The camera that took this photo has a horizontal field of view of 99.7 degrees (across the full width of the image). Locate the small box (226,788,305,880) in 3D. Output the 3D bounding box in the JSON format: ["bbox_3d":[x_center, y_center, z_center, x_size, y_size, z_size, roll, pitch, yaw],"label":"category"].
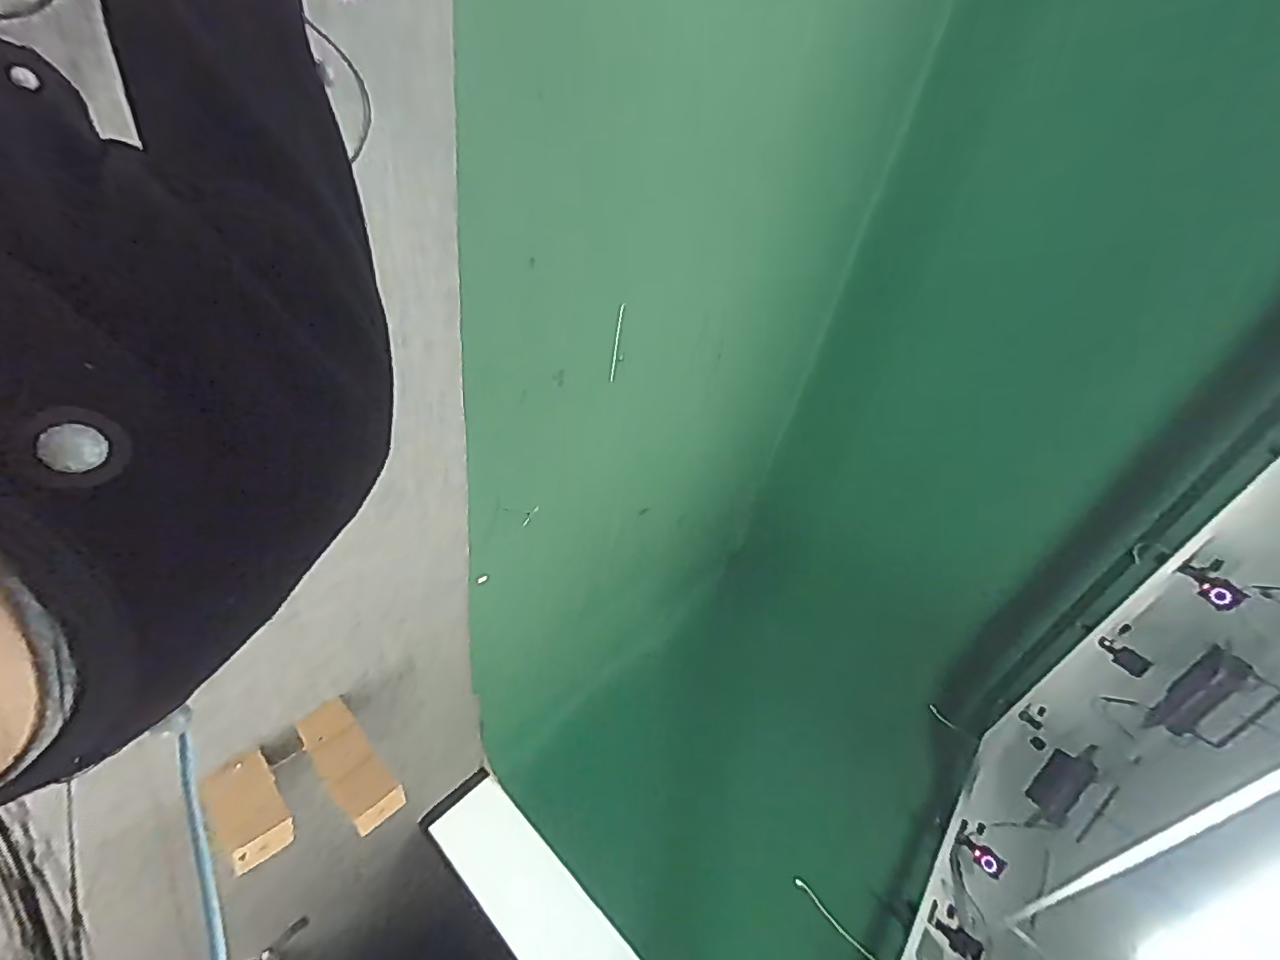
[{"bbox_3d":[-1.310,1.232,1.895,0.179,0.176,0.168,-21,136,-49],"label":"small box"}]

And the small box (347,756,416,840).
[{"bbox_3d":[-0.975,1.189,2.028,0.179,0.176,0.168,-31,143,-41],"label":"small box"}]

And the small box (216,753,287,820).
[{"bbox_3d":[-1.423,1.151,1.985,0.168,0.176,0.179,-21,135,-49],"label":"small box"}]
